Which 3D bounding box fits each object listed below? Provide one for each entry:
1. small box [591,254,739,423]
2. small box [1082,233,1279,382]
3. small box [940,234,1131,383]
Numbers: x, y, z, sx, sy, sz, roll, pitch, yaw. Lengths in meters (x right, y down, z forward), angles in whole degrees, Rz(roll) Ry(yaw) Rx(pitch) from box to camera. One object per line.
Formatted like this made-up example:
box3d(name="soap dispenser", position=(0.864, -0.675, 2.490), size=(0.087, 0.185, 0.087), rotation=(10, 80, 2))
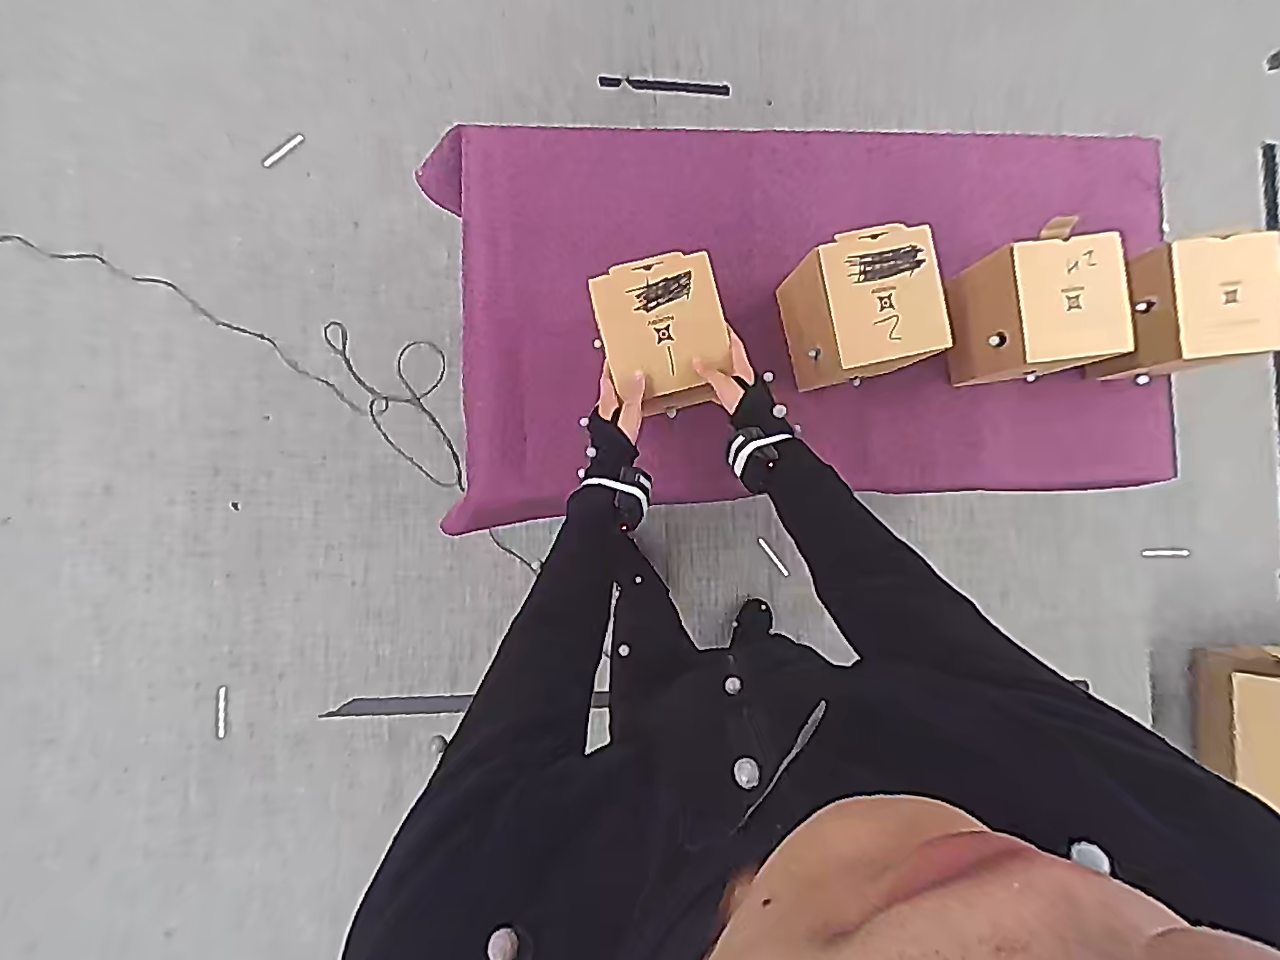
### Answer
box3d(name="small box", position=(0.032, -0.196, 0.795), size=(0.168, 0.176, 0.179), rotation=(-15, 89, 0))
box3d(name="small box", position=(0.843, -0.265, 0.863), size=(0.168, 0.176, 0.179), rotation=(-6, 88, -2))
box3d(name="small box", position=(0.604, -0.255, 0.847), size=(0.168, 0.176, 0.179), rotation=(-7, 89, -4))
